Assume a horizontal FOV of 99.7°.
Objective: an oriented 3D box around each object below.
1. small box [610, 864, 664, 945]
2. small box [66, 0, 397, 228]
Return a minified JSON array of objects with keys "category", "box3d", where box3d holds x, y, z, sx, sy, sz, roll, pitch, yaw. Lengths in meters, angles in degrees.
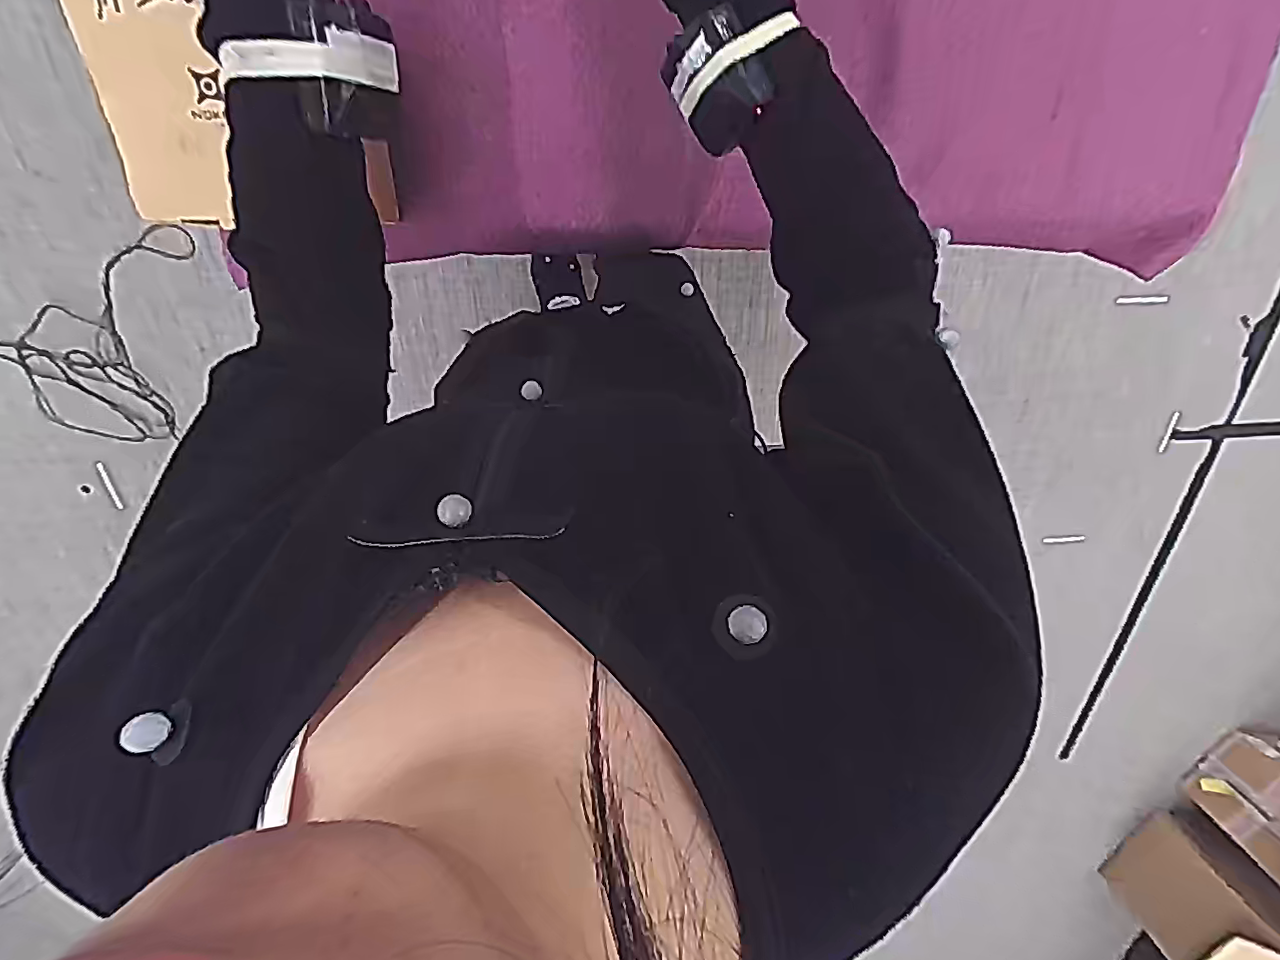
[{"category":"small box","box3d":[-0.013,1.506,1.927,0.179,0.176,0.168,-4,115,-4]},{"category":"small box","box3d":[-0.342,-0.332,0.496,0.168,0.176,0.179,-2,117,-6]}]
